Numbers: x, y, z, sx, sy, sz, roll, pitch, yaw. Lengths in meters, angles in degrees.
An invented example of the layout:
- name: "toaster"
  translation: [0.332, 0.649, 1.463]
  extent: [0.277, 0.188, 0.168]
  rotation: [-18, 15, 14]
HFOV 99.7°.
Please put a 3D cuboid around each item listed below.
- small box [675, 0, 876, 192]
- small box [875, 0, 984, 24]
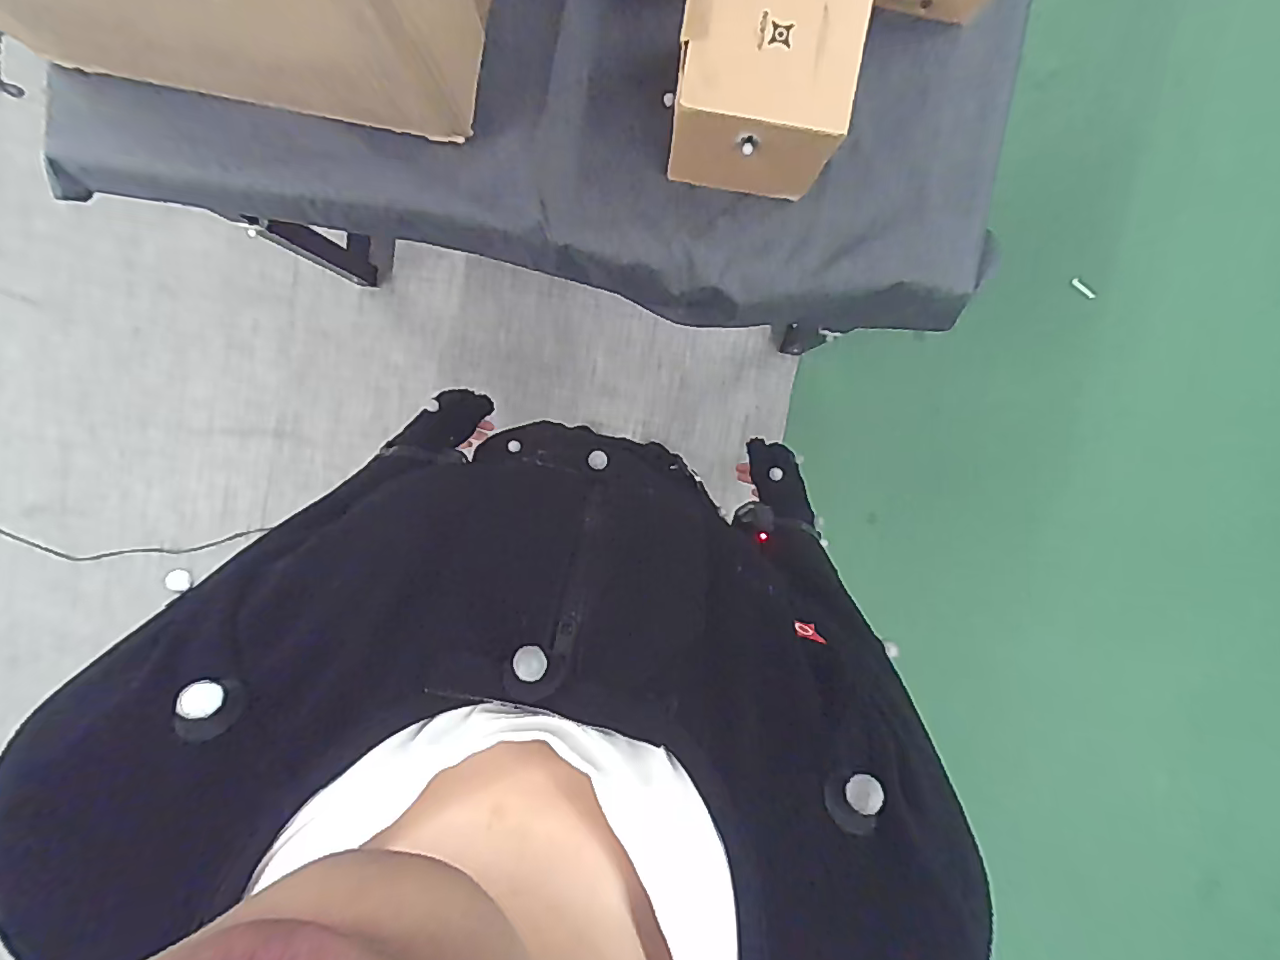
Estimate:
- name: "small box"
  translation: [0.140, -0.454, 0.614]
  extent: [0.179, 0.176, 0.168]
  rotation: [9, 97, -2]
- name: "small box"
  translation: [0.350, -0.666, 0.592]
  extent: [0.168, 0.176, 0.179]
  rotation: [12, 96, -1]
